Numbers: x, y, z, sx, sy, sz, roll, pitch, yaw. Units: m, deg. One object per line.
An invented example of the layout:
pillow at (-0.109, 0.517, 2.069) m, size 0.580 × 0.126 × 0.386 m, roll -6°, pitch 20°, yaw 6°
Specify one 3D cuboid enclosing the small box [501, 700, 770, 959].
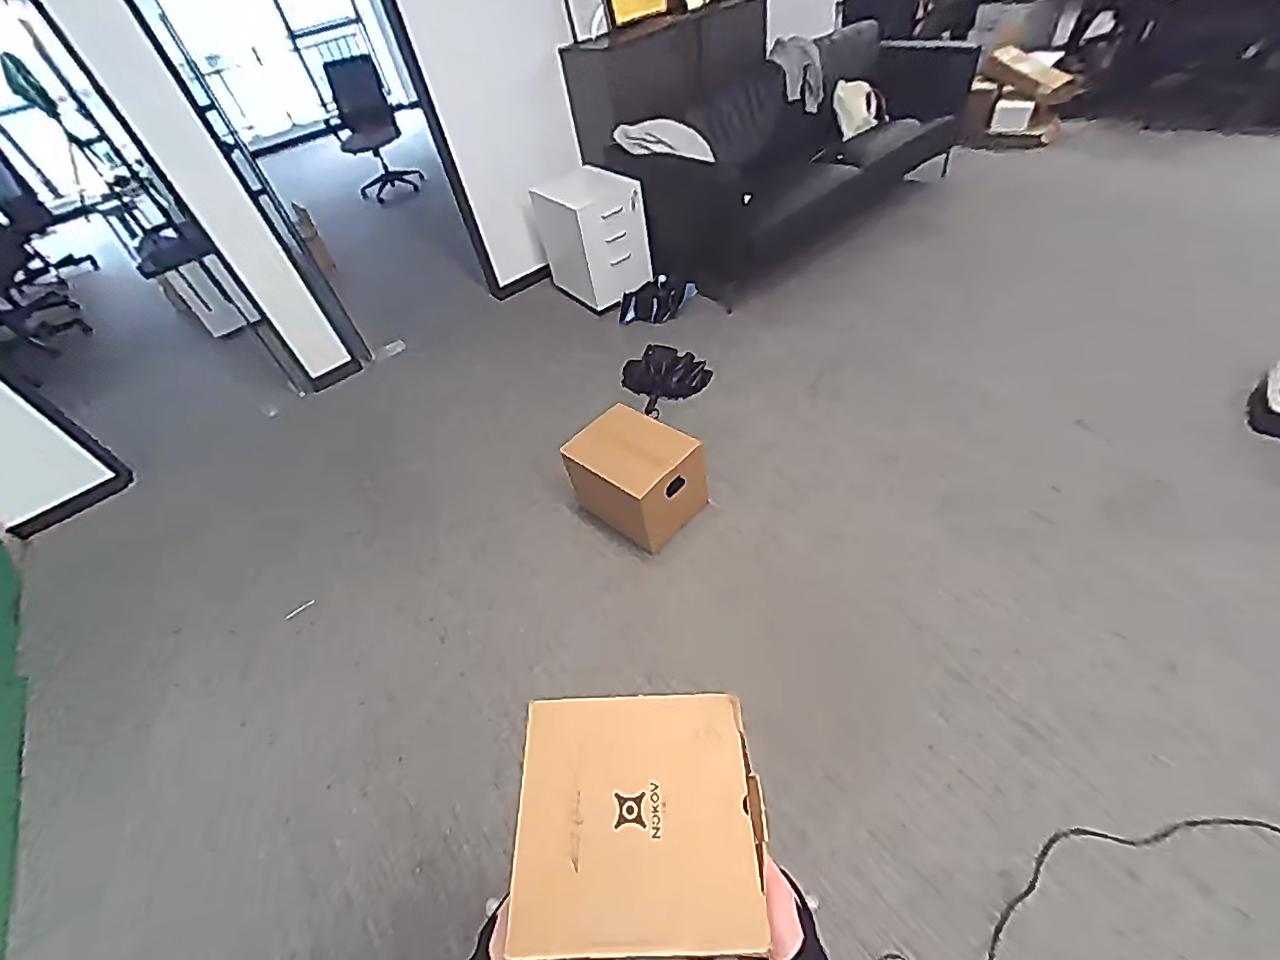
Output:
small box at (-0.001, 0.298, 0.457) m, size 0.179 × 0.176 × 0.168 m, roll -3°, pitch 48°, yaw 1°
